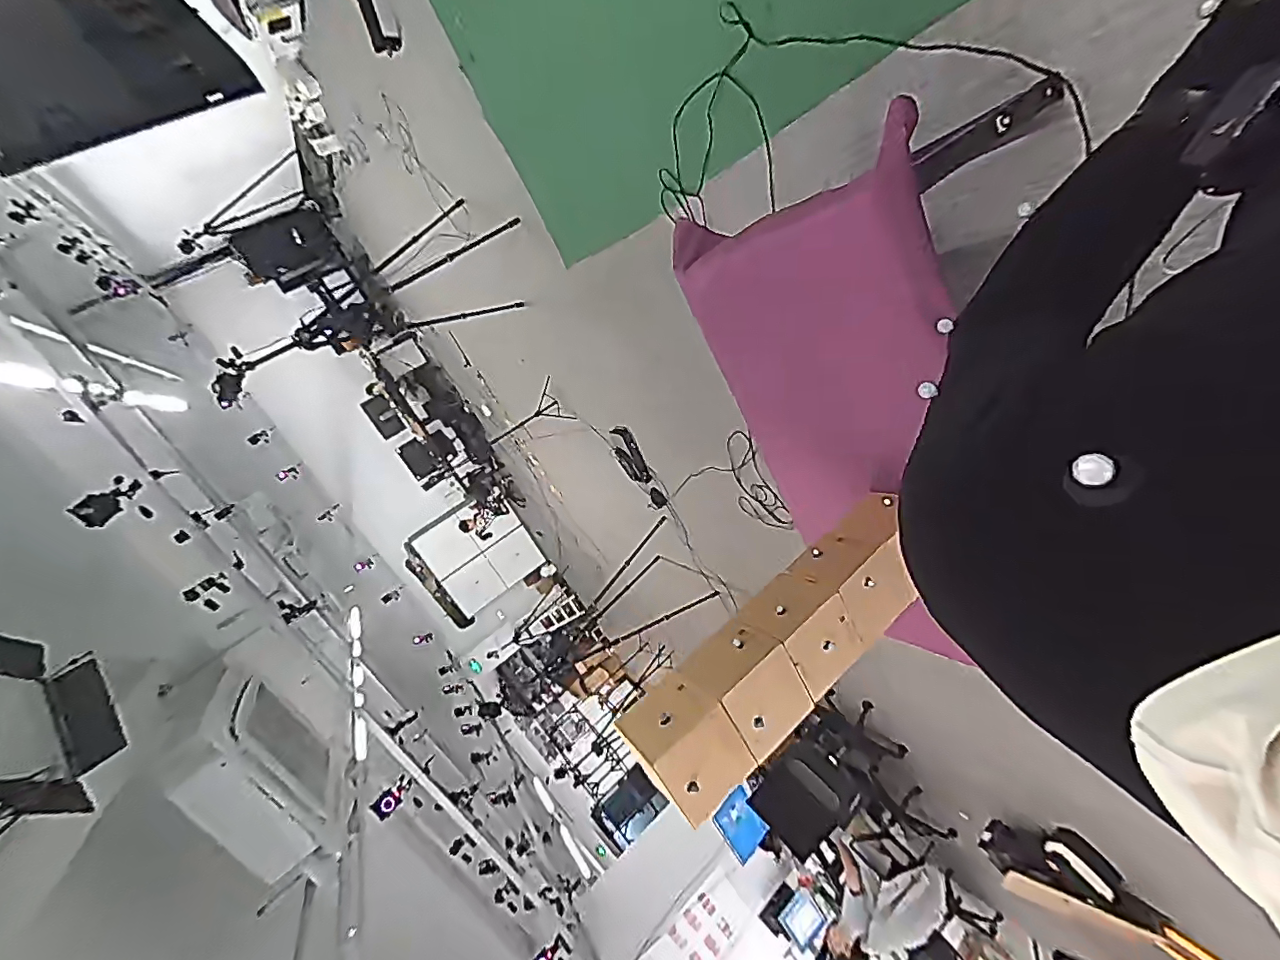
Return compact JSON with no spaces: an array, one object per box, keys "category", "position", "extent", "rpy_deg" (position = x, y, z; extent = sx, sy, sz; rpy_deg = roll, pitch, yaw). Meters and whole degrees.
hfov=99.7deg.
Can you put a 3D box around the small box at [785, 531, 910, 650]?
[{"category":"small box","position":[0.463,0.236,1.208],"extent":[0.179,0.176,0.168],"rpy_deg":[61,159,-18]}]

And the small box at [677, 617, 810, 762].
[{"category":"small box","position":[0.213,0.414,1.095],"extent":[0.179,0.176,0.168],"rpy_deg":[62,159,-16]}]

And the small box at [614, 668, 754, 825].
[{"category":"small box","position":[0.085,0.499,1.041],"extent":[0.179,0.176,0.168],"rpy_deg":[60,159,-17]}]

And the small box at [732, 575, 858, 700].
[{"category":"small box","position":[0.337,0.325,1.157],"extent":[0.168,0.176,0.179],"rpy_deg":[61,158,-16]}]
